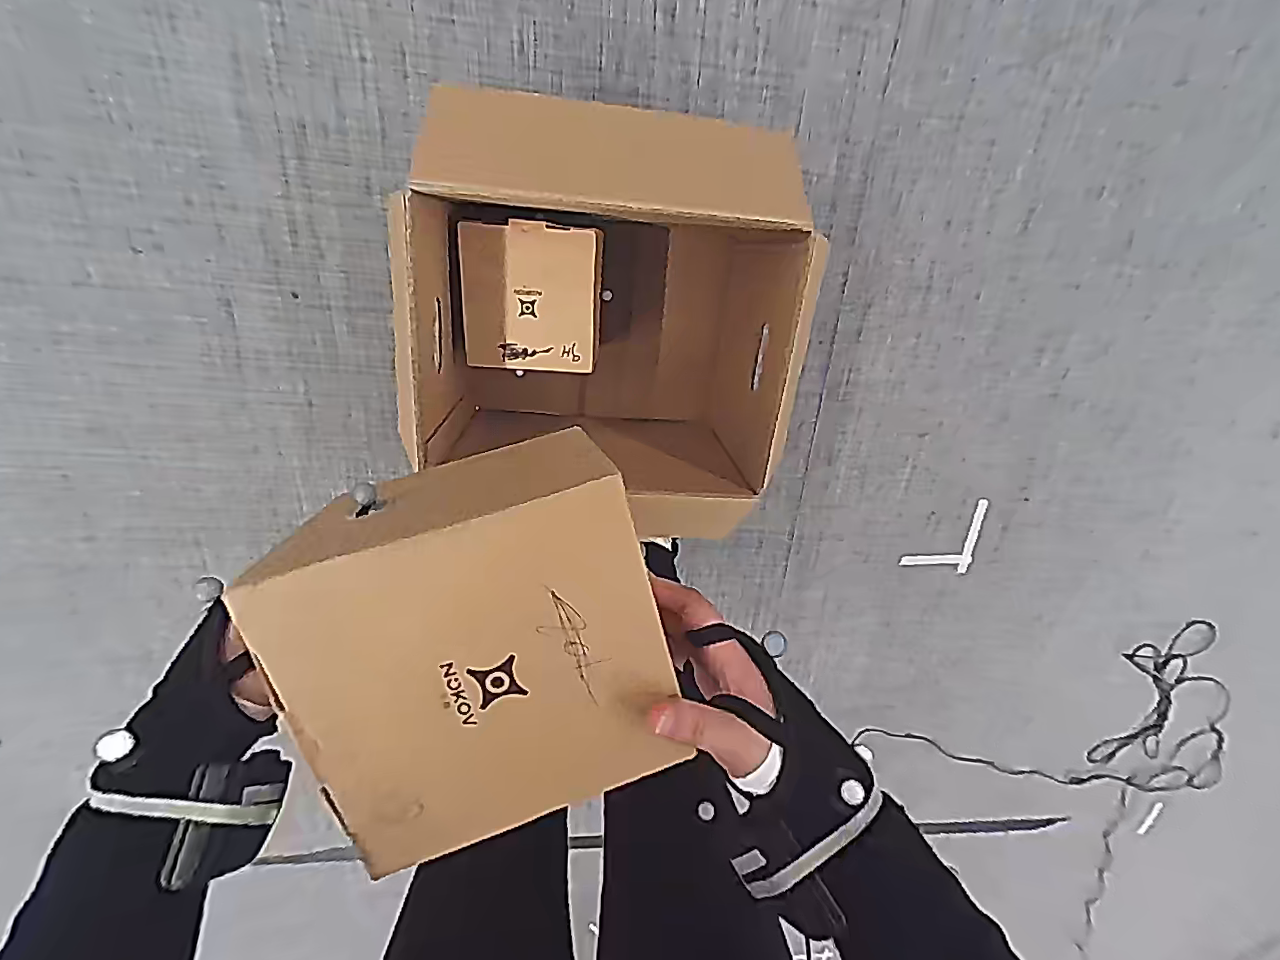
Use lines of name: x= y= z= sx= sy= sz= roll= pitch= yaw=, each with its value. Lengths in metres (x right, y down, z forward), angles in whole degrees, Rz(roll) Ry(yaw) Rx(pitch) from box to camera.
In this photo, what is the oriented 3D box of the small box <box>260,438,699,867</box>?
small box: x=-0.084 y=0.083 z=0.347 sx=0.179 sy=0.176 sz=0.168 roll=-19 pitch=108 yaw=-9
